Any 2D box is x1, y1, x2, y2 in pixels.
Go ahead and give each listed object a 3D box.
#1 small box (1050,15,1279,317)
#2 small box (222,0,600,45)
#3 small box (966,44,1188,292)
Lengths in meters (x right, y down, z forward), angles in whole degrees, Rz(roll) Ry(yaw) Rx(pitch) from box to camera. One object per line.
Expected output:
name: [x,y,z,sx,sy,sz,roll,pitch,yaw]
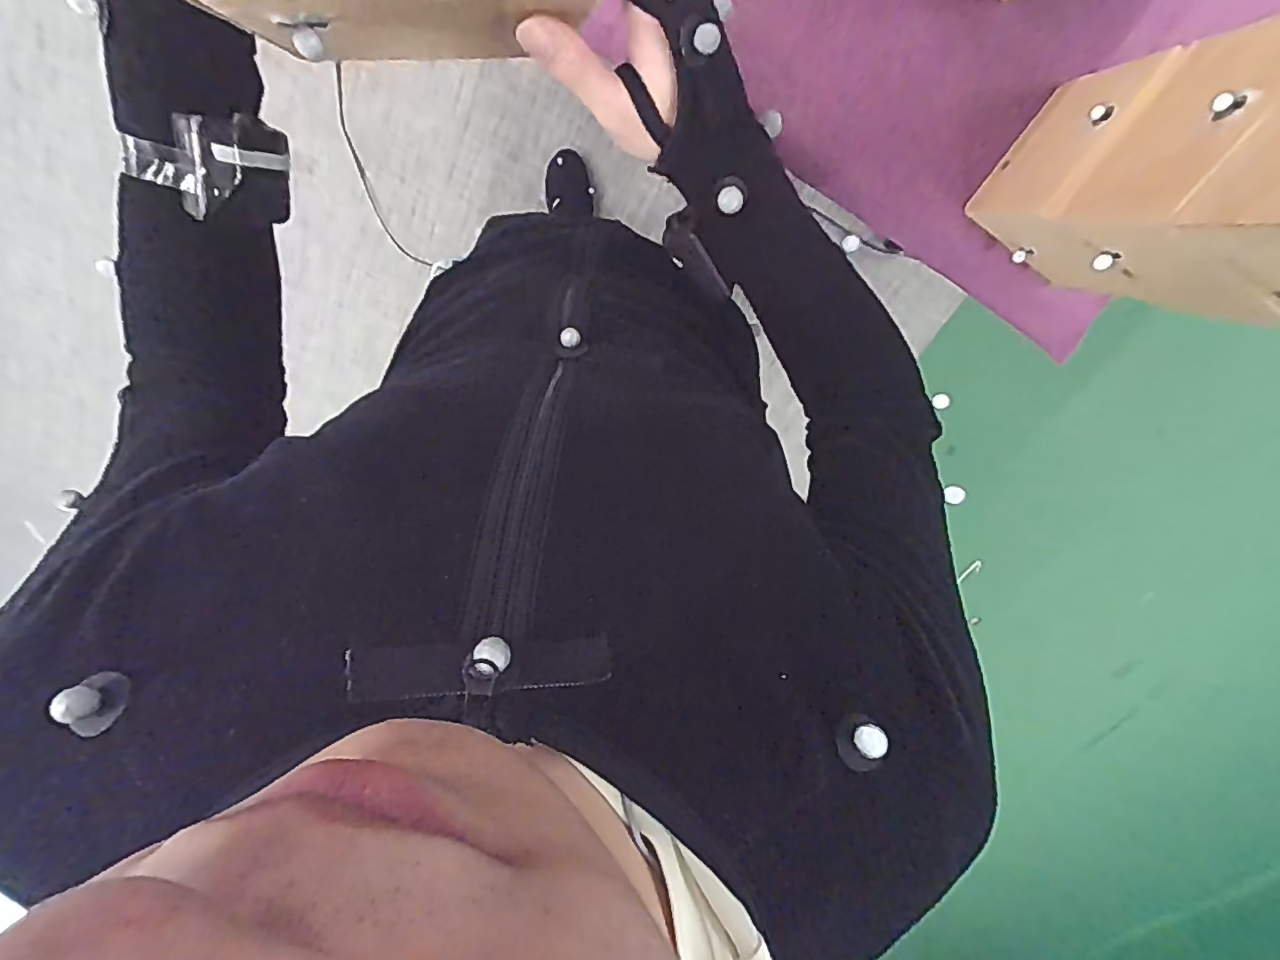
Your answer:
small box: [0.533,-0.276,0.482,0.168,0.176,0.179,30,114,-11]
small box: [-0.112,-0.312,0.245,0.176,0.179,0.168,-10,123,-11]
small box: [0.535,-0.349,0.629,0.179,0.176,0.168,29,114,-12]
